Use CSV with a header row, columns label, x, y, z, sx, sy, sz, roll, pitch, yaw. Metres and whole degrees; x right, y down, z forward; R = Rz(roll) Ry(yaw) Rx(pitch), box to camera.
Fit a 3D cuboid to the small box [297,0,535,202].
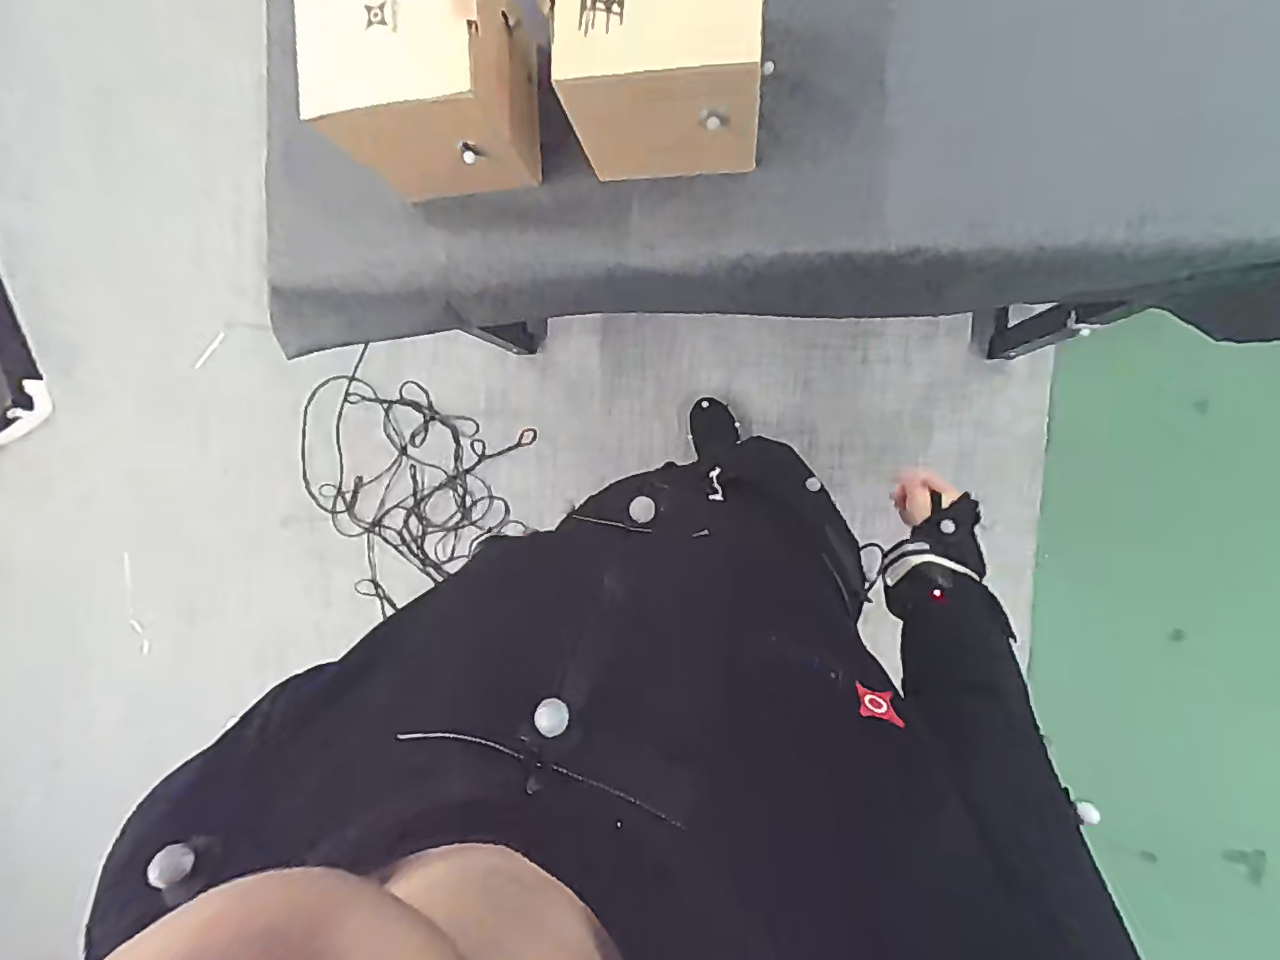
label,x,y,z,sx,sy,sz,roll,pitch,yaw
small box,-0.215,-0.416,0.561,0.179,0.176,0.168,-2,91,11
